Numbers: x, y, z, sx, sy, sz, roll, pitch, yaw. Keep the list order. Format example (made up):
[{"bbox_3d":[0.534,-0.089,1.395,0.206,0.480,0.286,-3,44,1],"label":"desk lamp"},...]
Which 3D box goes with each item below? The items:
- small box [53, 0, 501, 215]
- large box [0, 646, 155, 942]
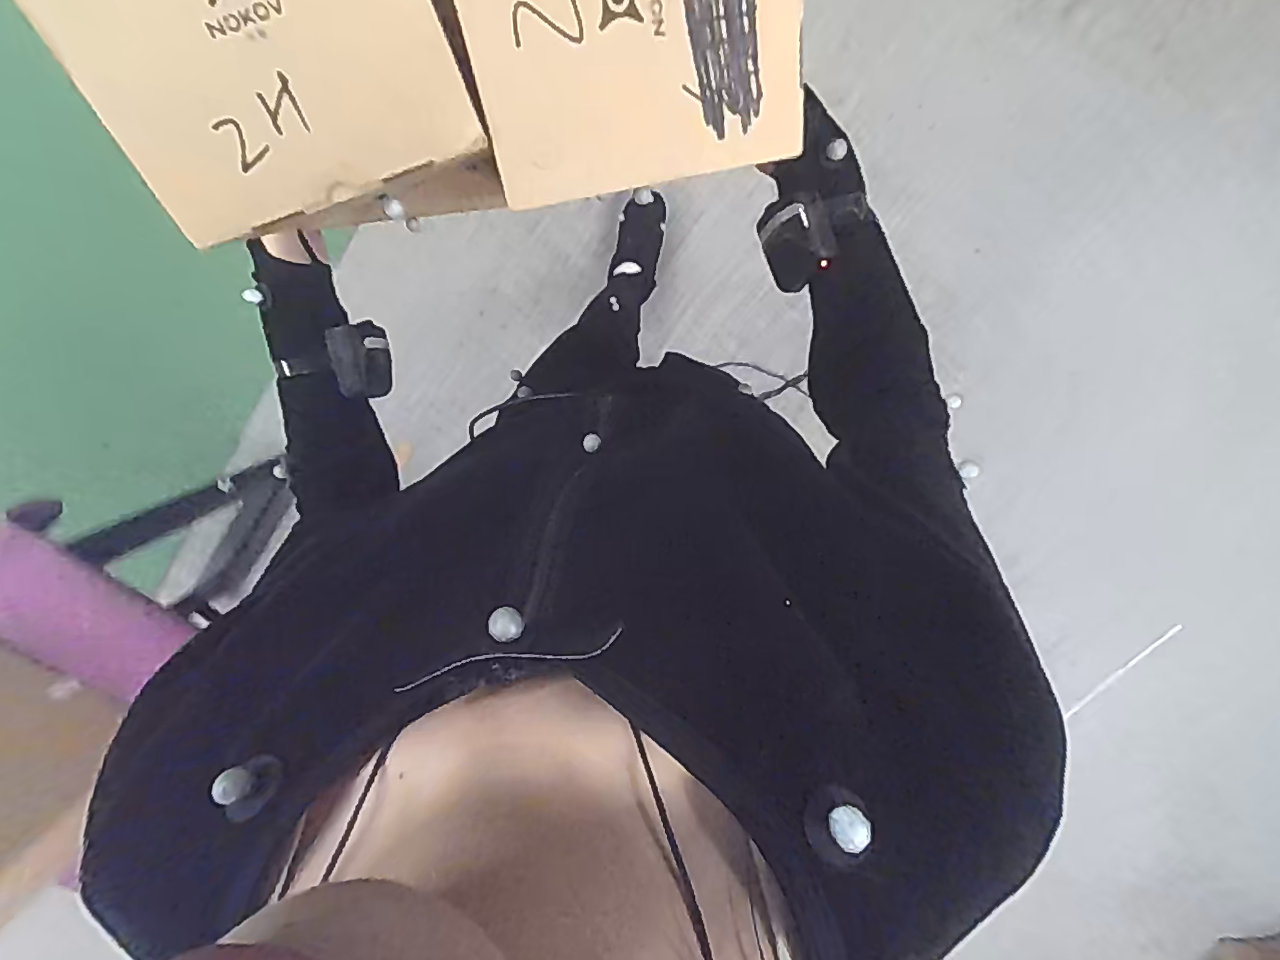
[{"bbox_3d":[-0.190,-0.269,0.306,0.168,0.176,0.179,-19,121,0],"label":"small box"},{"bbox_3d":[-1.050,0.528,0.790,0.320,0.320,0.408,37,104,-12],"label":"large box"}]
